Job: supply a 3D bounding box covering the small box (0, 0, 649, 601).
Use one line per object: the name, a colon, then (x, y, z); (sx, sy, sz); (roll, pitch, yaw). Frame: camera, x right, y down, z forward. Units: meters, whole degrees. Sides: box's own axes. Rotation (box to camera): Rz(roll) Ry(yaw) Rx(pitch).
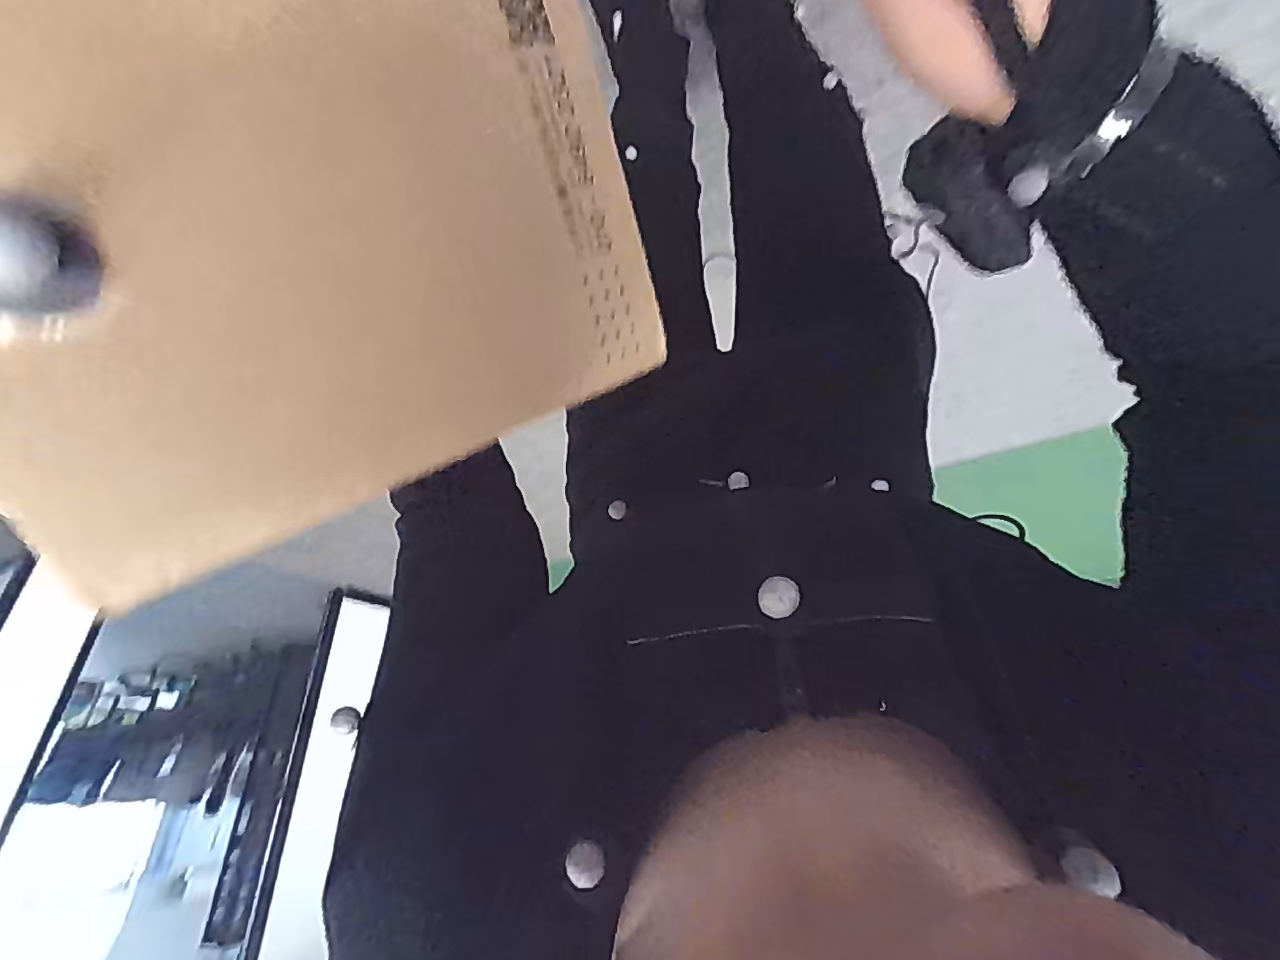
small box: (-0.126, -0.090, 0.194); (0.179, 0.176, 0.168); (10, 123, 51)
